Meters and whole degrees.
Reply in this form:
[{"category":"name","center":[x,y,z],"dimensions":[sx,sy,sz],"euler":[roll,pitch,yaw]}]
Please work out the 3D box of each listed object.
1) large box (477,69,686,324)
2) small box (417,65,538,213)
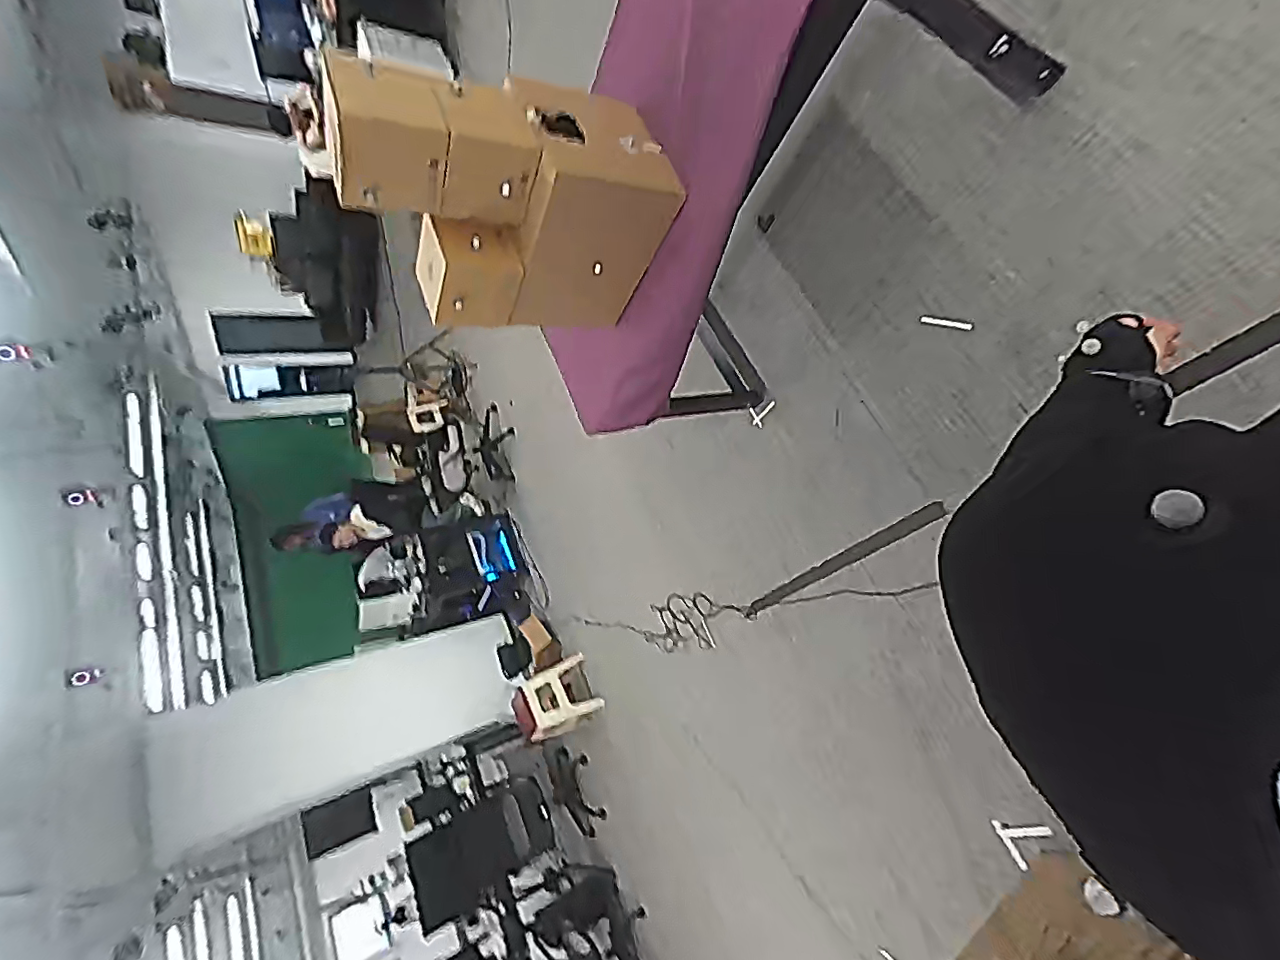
[{"category":"large box","center":[-0.154,-0.617,1.247],"dimensions":[0.408,0.320,0.320],"euler":[-51,55,51]},{"category":"small box","center":[-0.312,-0.634,1.027],"dimensions":[0.168,0.176,0.179],"euler":[-51,56,52]}]
